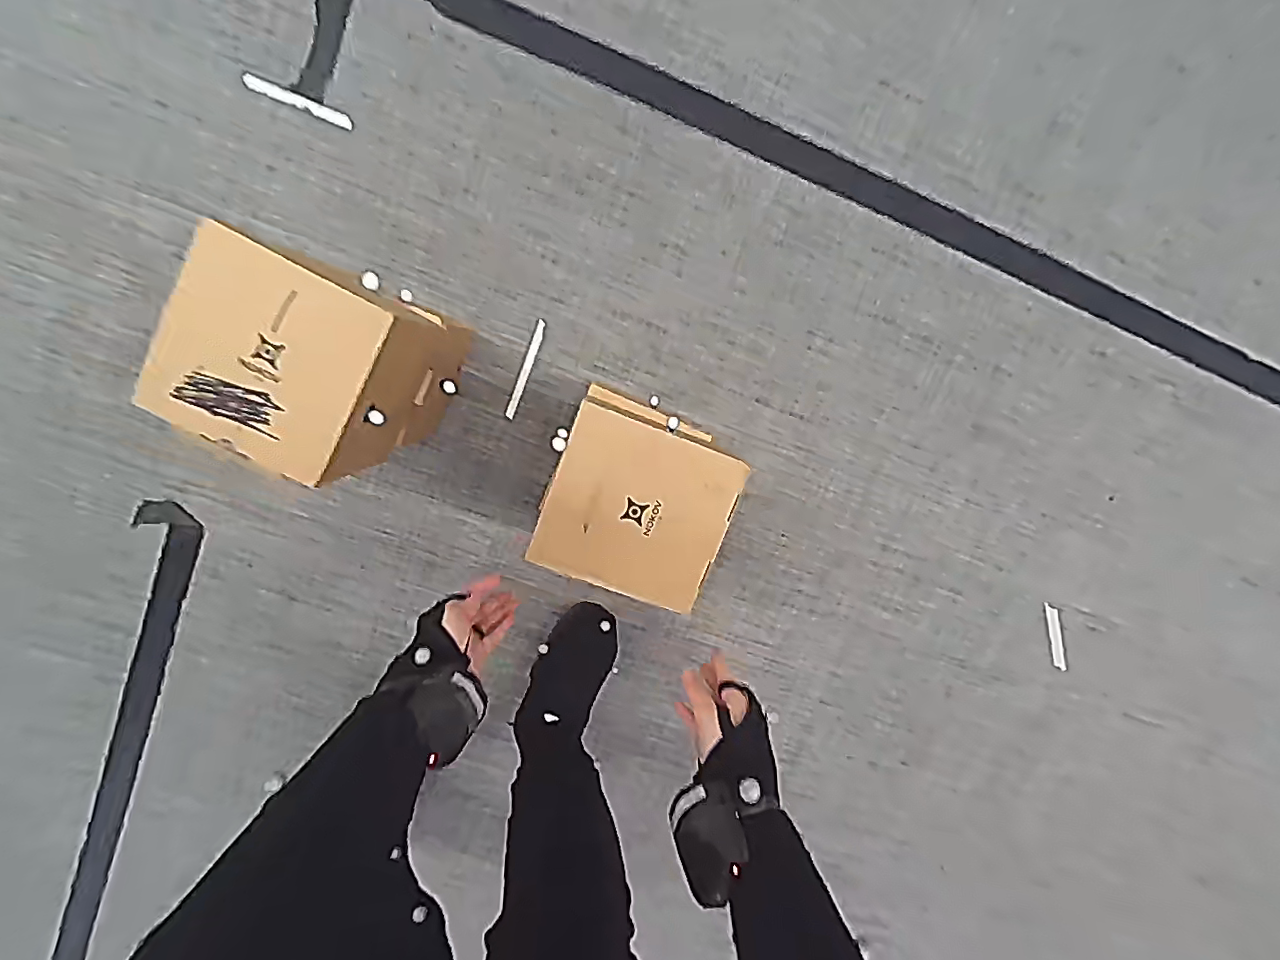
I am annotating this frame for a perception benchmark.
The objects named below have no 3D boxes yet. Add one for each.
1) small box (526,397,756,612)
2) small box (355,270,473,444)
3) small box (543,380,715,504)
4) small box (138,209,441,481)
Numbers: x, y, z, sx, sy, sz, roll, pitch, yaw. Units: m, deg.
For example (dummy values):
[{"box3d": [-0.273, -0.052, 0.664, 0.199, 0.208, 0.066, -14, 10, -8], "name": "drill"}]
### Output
[{"box3d": [-0.004, 0.013, 0.592, 0.179, 0.176, 0.168, 22, 98, -8], "name": "small box"}, {"box3d": [-0.336, -0.165, 0.699, 0.179, 0.176, 0.168, 23, 99, -9], "name": "small box"}, {"box3d": [-0.021, -0.027, 0.749, 0.168, 0.176, 0.179, 24, 99, -8], "name": "small box"}, {"box3d": [-0.323, -0.124, 0.539, 0.168, 0.176, 0.179, 28, 98, -10], "name": "small box"}]
